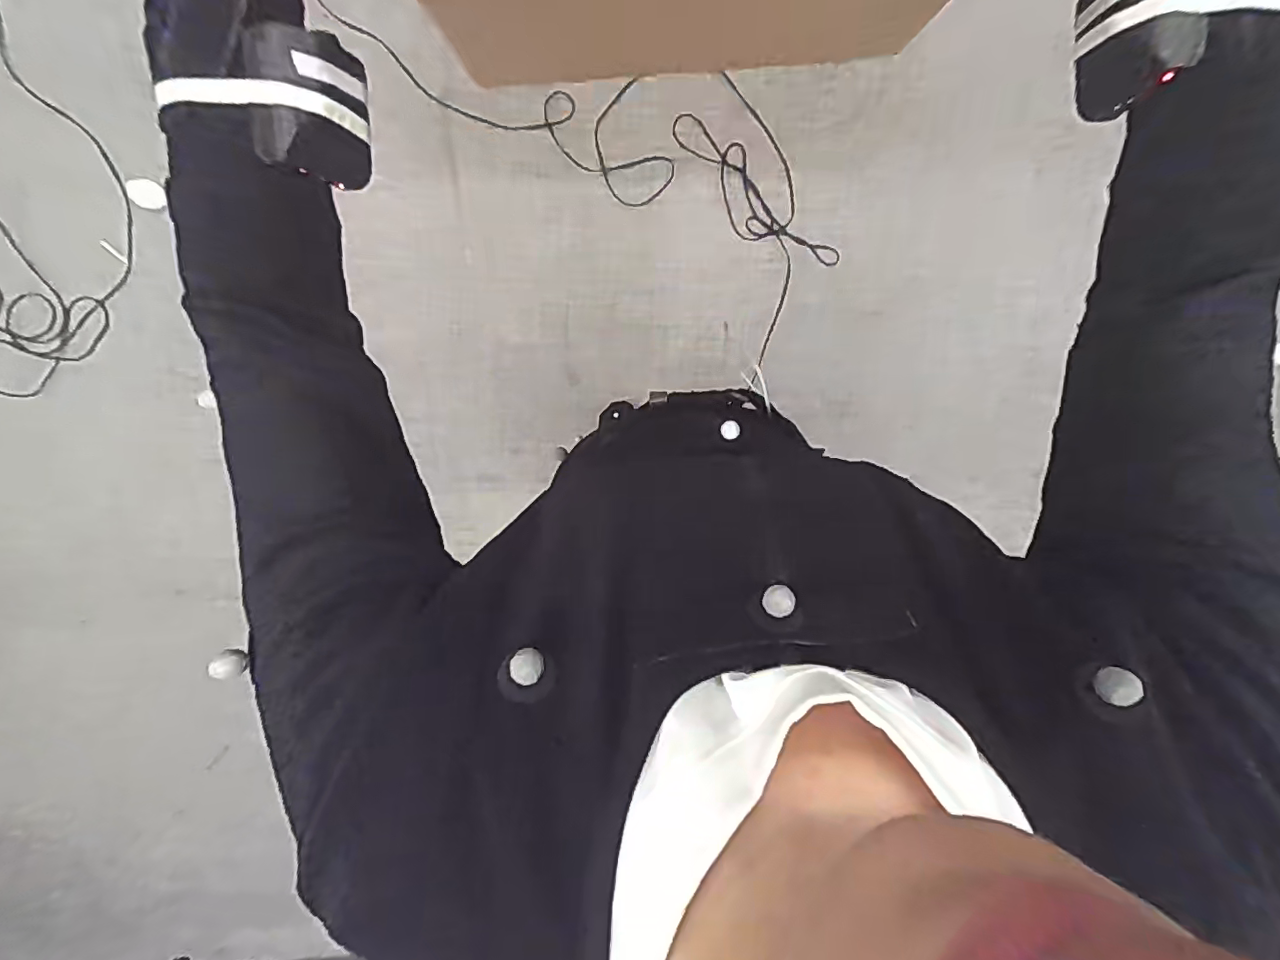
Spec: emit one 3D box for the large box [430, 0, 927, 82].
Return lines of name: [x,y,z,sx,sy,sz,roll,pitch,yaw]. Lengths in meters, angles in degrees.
large box: [0.032,-0.496,0.325,0.408,0.320,0.320,-5,107,0]
